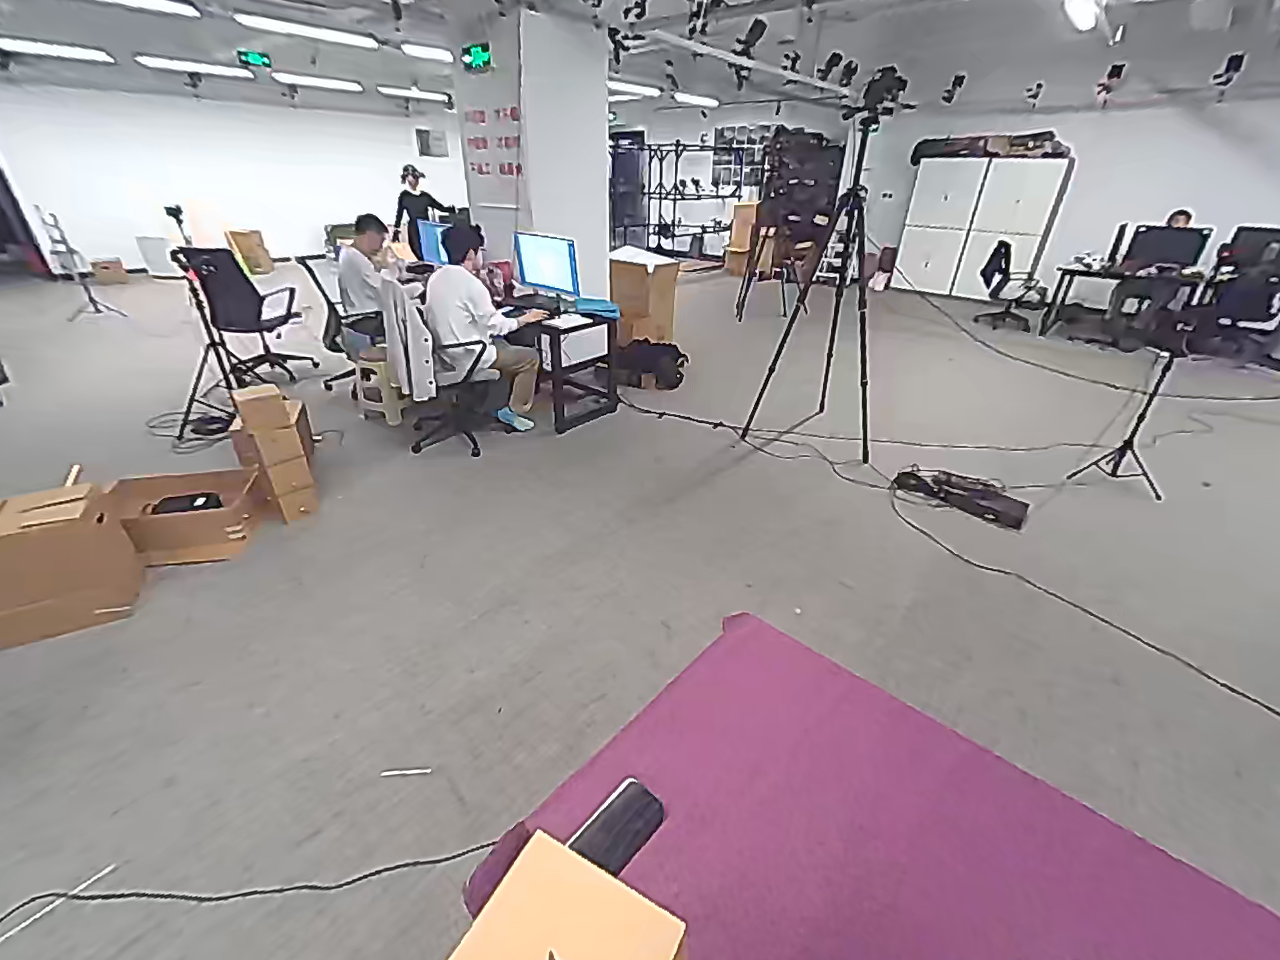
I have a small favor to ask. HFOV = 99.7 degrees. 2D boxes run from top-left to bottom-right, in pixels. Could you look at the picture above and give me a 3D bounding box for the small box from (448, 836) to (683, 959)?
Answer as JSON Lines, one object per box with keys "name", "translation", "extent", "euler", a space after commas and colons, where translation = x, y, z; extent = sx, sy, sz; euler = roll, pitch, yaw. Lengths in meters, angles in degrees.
{"name": "small box", "translation": [-0.073, 0.479, 0.479], "extent": [0.168, 0.176, 0.179], "euler": [14, 34, 27]}
